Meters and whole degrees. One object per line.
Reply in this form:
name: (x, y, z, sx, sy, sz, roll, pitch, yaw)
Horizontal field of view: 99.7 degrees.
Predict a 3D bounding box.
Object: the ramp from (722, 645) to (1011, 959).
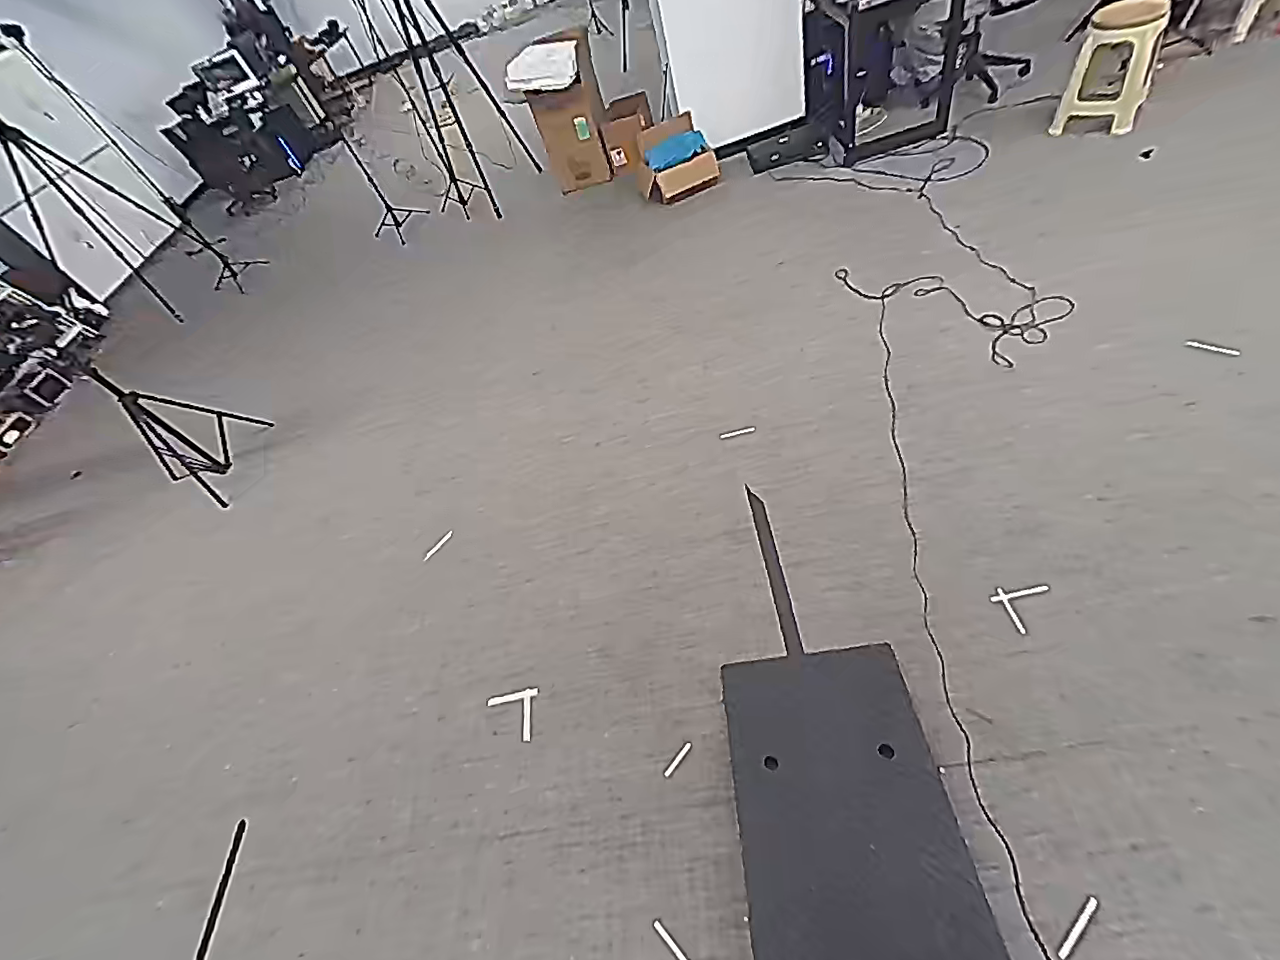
ramp: (0.472, 0.847, 1.211, 0.509, 0.206, 0.991, -14, 49, 10)
